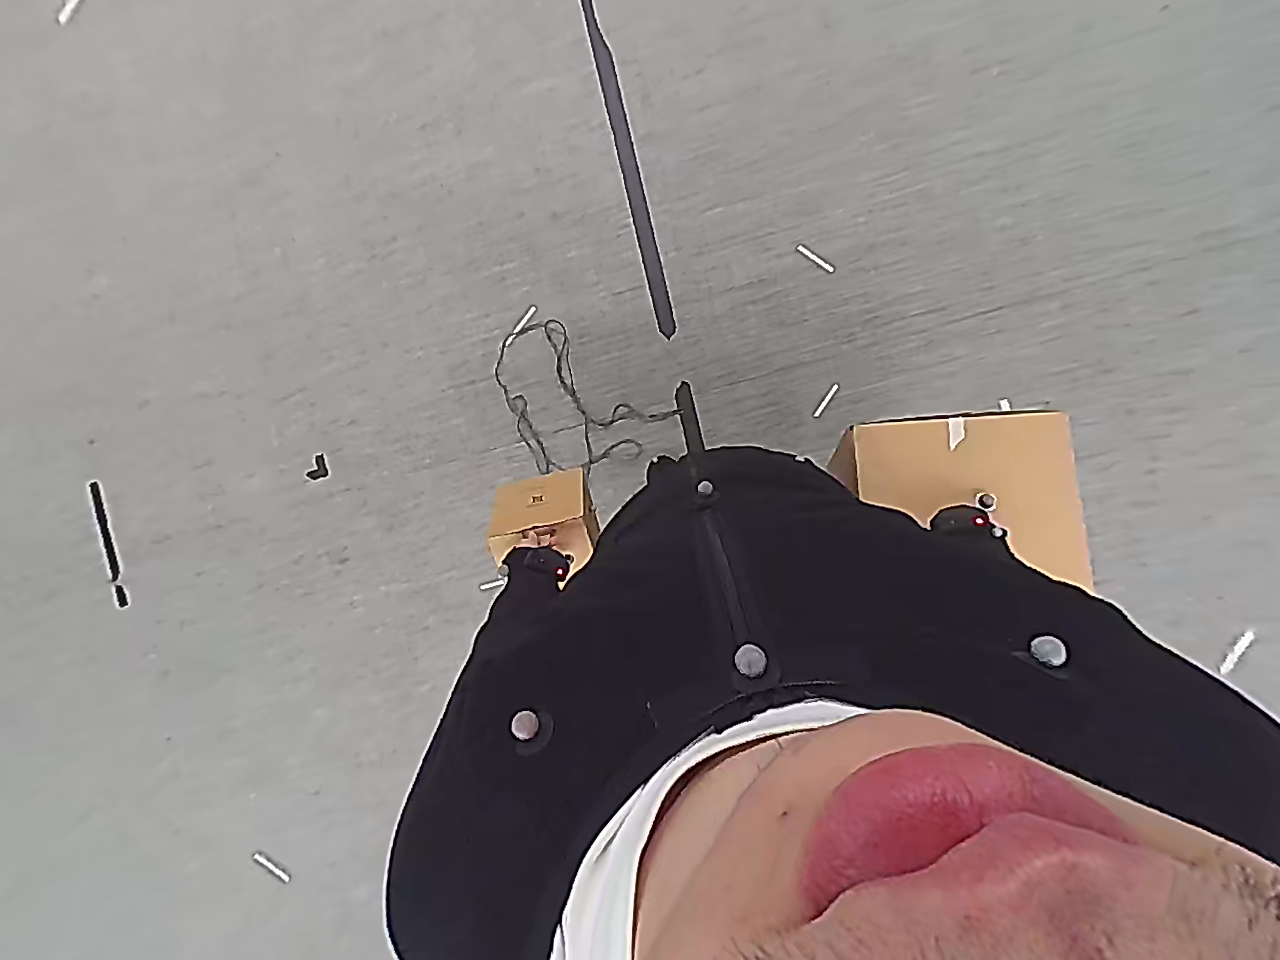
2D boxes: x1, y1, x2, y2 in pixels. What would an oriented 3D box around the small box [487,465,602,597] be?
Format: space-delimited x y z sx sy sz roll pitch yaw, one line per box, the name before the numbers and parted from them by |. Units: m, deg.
small box | -0.169 0.099 1.006 0.168 0.179 0.176 -12 122 0
